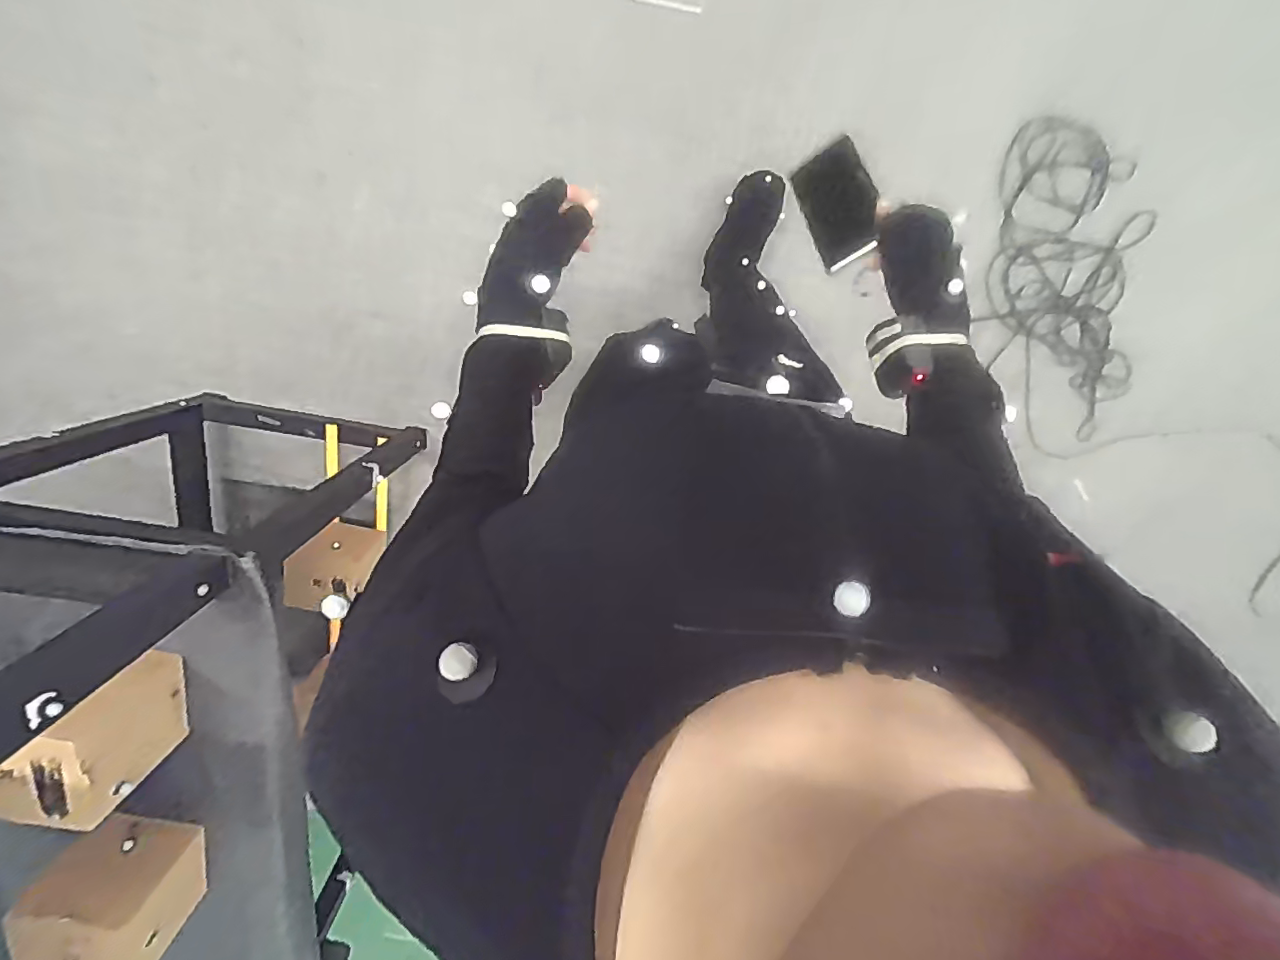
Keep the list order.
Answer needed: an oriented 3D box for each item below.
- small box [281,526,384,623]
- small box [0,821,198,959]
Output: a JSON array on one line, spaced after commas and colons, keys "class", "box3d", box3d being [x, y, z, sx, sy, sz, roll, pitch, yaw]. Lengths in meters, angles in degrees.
[{"class": "small box", "box3d": [-0.773, 0.233, 1.371, 0.179, 0.176, 0.168, 13, 109, -6]}, {"class": "small box", "box3d": [-0.859, 0.700, 0.874, 0.168, 0.176, 0.179, 13, 109, -6]}]
